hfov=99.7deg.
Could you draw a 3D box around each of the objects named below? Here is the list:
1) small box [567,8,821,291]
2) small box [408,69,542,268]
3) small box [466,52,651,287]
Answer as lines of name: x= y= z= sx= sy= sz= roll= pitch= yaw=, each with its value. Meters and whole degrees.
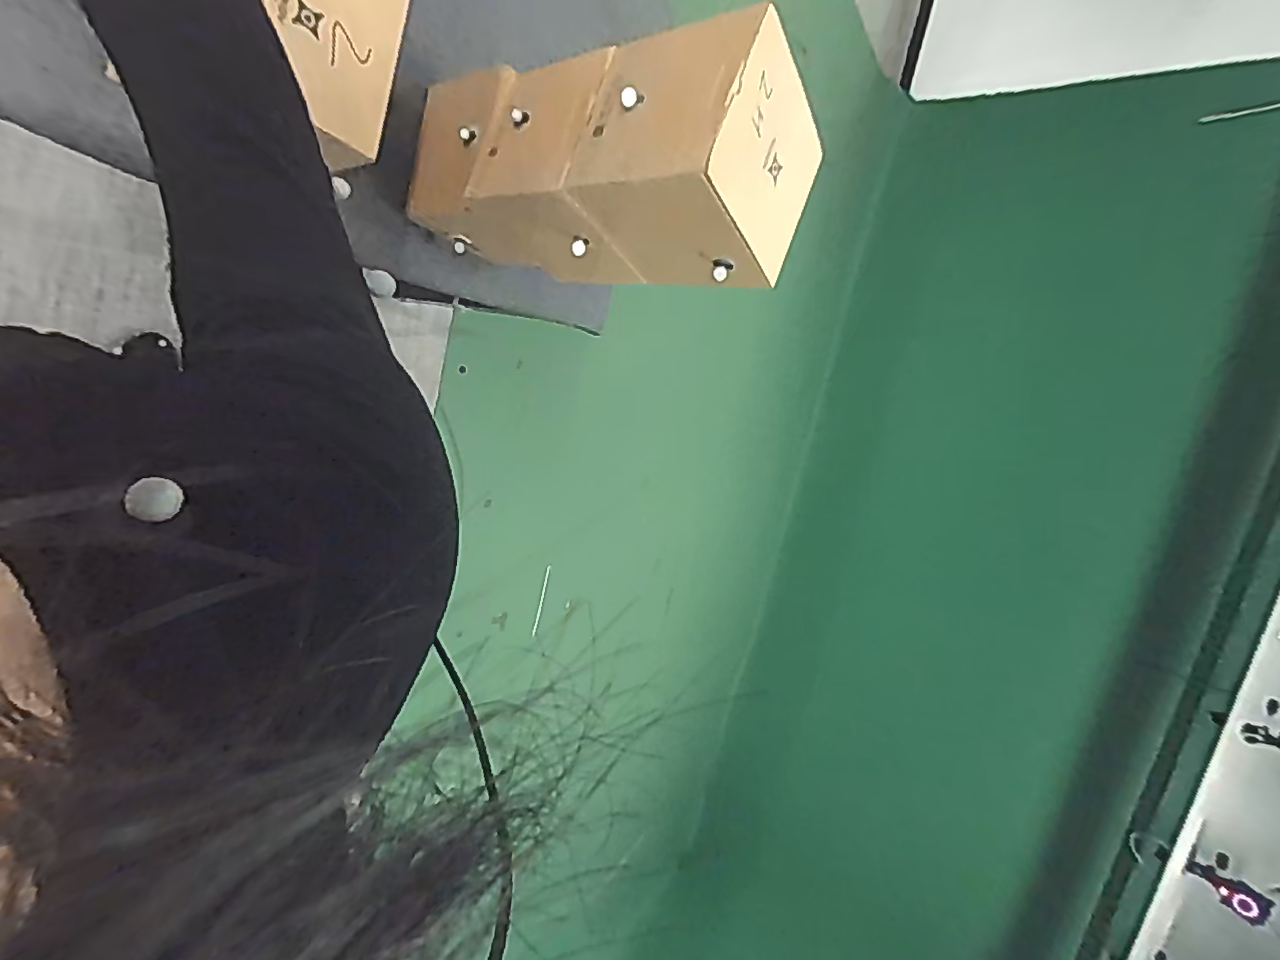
small box: x=0.060 y=-0.318 z=0.558 sx=0.179 sy=0.176 sz=0.168 roll=28 pitch=81 yaw=-52
small box: x=-0.193 y=-0.410 z=0.745 sx=0.168 sy=0.176 sz=0.179 roll=6 pitch=100 yaw=-53
small box: x=-0.071 y=-0.356 z=0.652 sx=0.179 sy=0.176 sz=0.168 roll=25 pitch=84 yaw=-53
